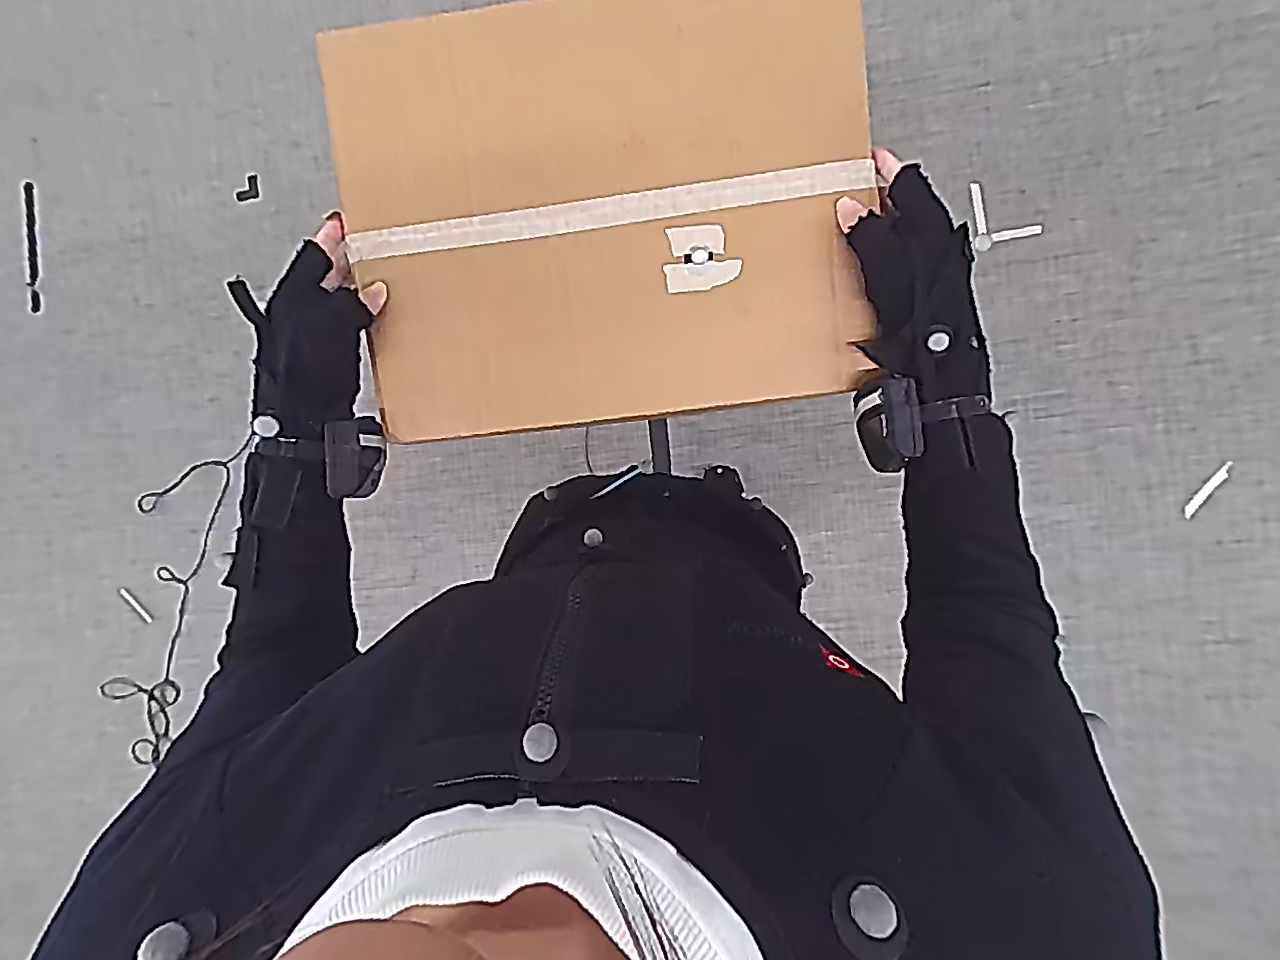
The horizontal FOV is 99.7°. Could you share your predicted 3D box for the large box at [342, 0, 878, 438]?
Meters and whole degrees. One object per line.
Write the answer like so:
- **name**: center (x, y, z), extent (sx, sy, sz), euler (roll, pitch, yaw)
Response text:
- **large box**: center (-0.019, -0.226, 0.579), extent (0.408, 0.320, 0.320), euler (-7, 97, 3)
